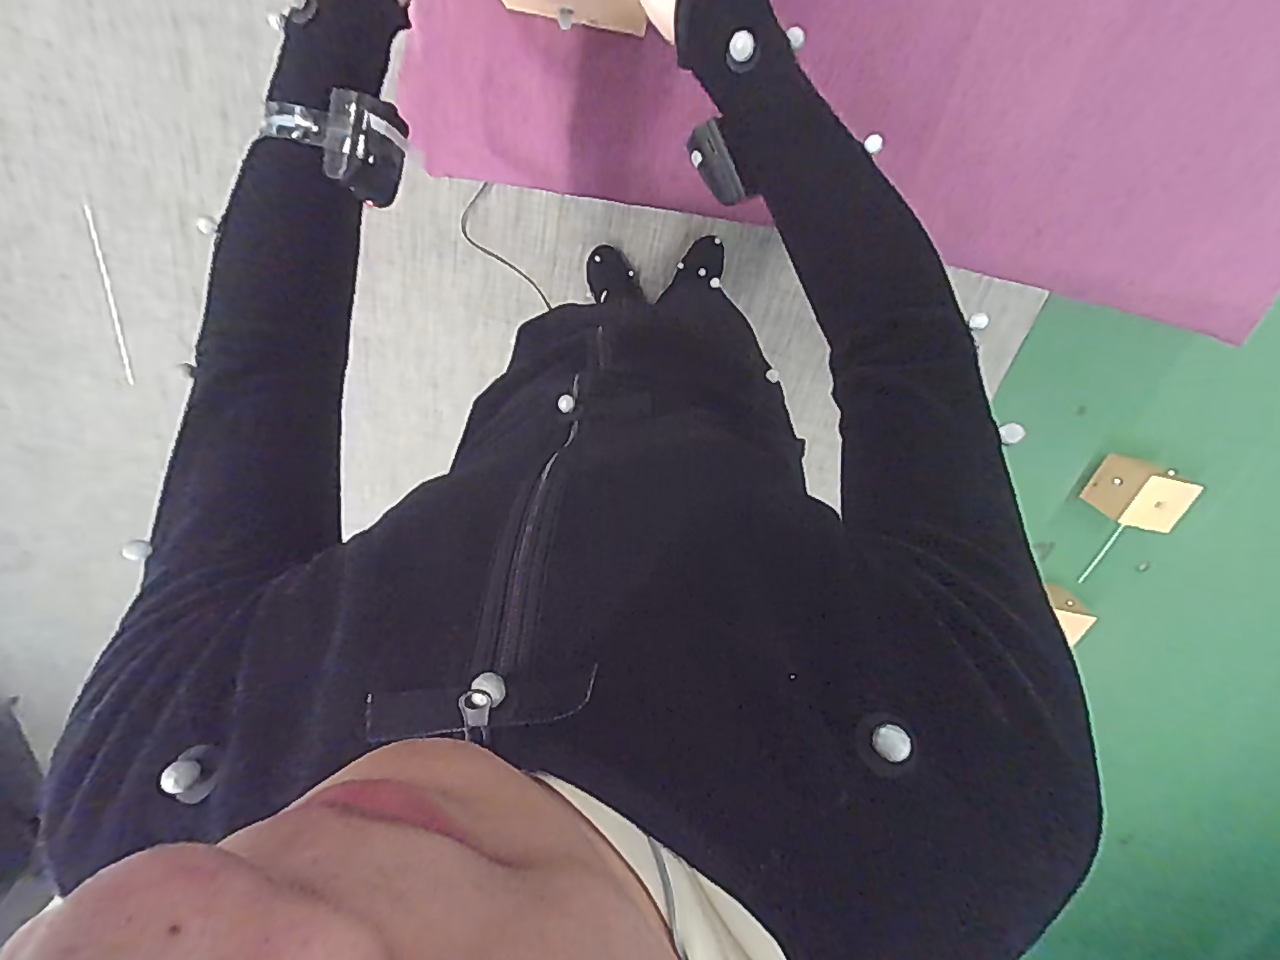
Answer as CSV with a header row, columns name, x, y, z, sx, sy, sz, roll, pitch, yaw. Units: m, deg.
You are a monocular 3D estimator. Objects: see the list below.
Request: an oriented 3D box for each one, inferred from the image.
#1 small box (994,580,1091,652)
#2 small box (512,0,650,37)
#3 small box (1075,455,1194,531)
name,x,y,z,sx,sy,sz,roll,pitch,yaw
small box,1.405,0.473,1.899,0.179,0.176,0.168,12,116,-7
small box,-0.060,-0.576,0.527,0.168,0.176,0.179,8,118,-5
small box,1.522,0.035,1.680,0.179,0.176,0.168,10,116,-7
